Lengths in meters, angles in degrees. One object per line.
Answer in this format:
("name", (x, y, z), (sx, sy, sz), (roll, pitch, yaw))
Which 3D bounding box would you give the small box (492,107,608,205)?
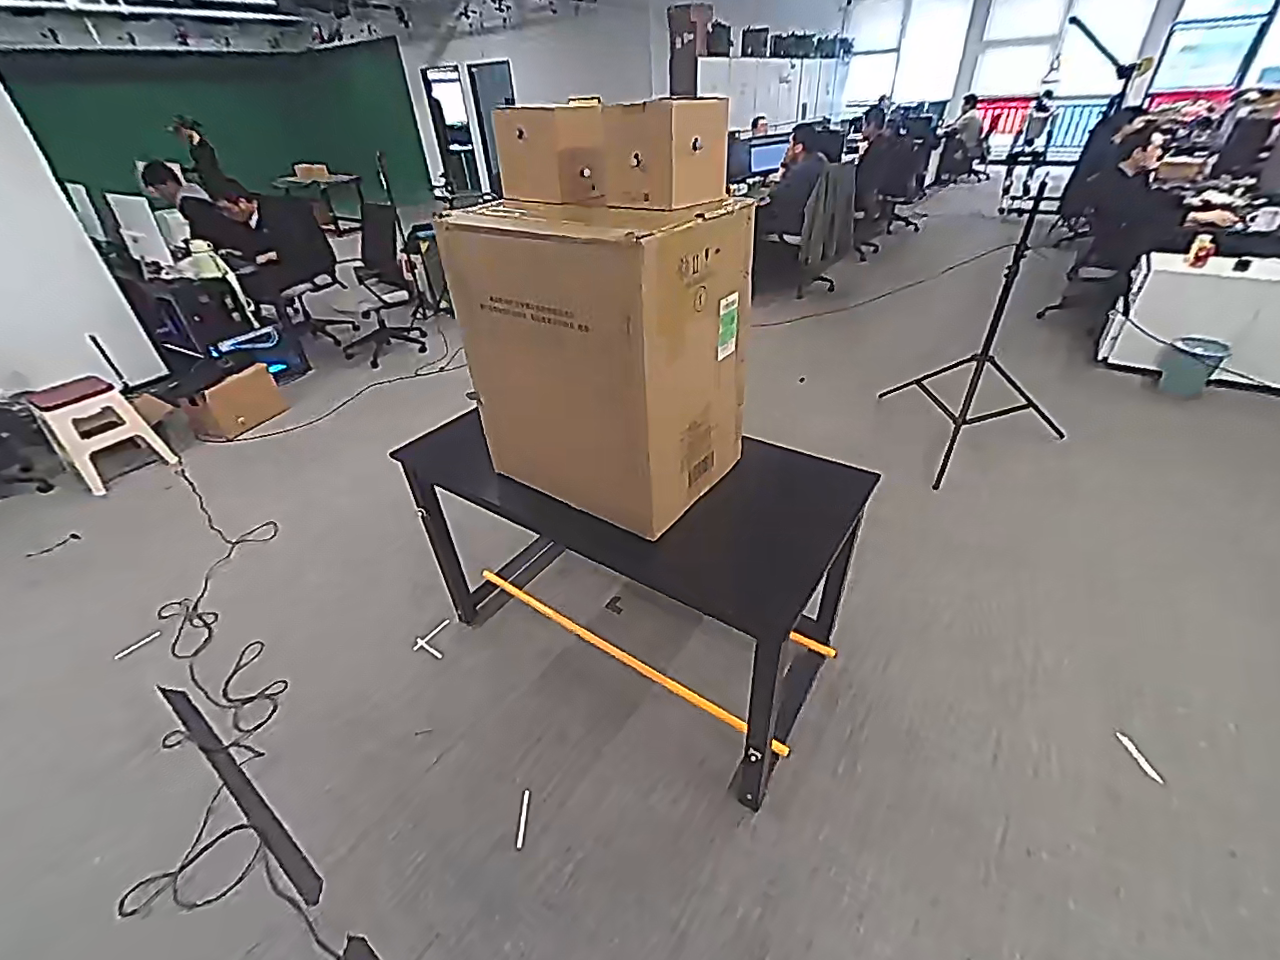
("small box", (-0.185, -0.693, 1.156), (0.179, 0.176, 0.168), (22, 42, 29))

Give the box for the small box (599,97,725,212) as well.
("small box", (0.046, -0.612, 1.021), (0.168, 0.176, 0.179), (23, 42, 33))
